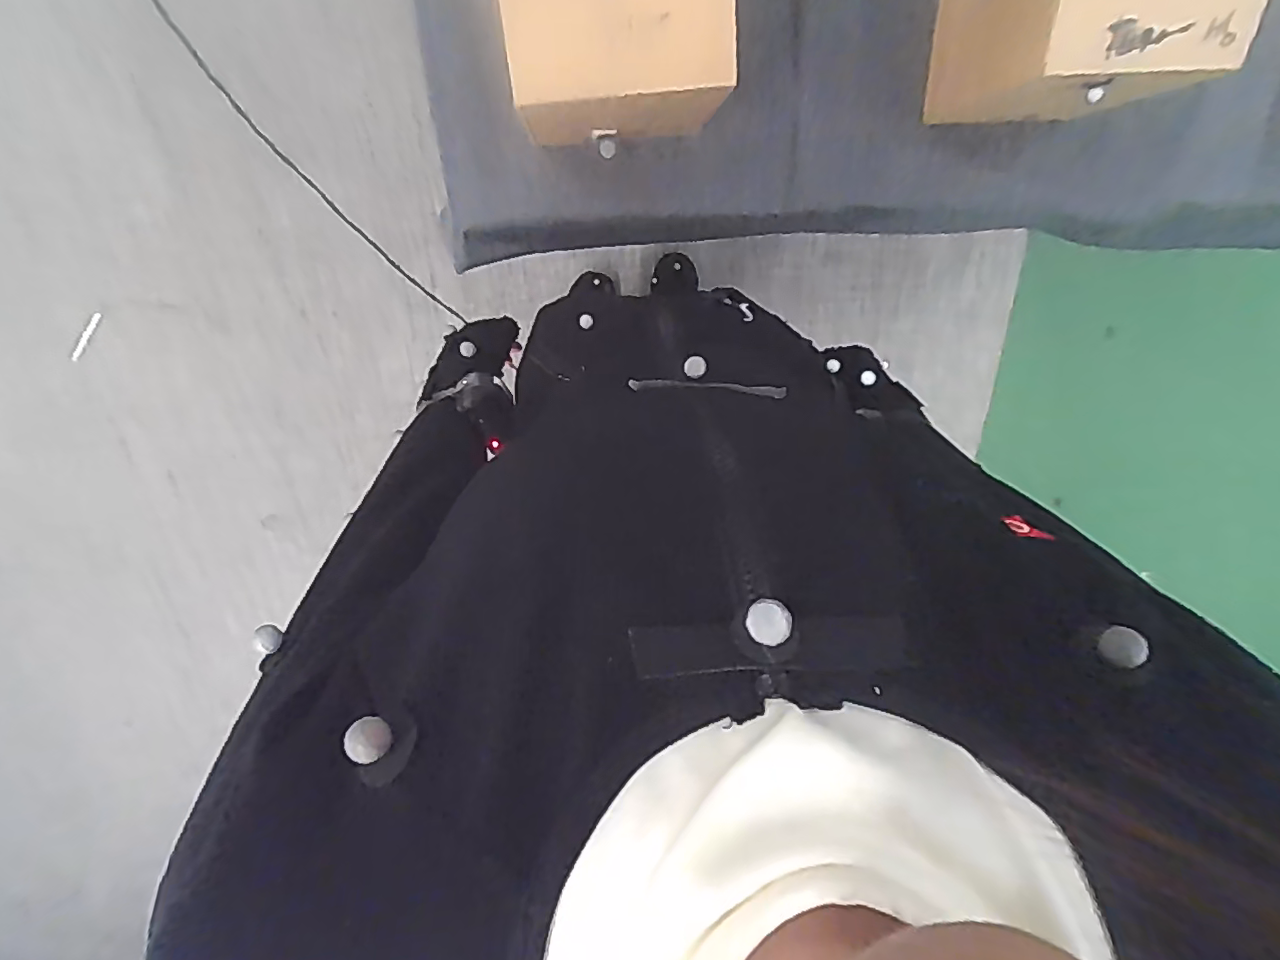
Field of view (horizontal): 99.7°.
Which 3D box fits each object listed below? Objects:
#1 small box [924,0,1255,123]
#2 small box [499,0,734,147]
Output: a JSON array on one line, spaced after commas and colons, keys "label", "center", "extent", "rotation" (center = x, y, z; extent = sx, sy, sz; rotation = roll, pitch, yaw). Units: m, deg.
[{"label": "small box", "center": [0.372, -0.428, 0.460], "extent": [0.168, 0.176, 0.179], "rotation": [-4, 112, -3]}, {"label": "small box", "center": [-0.026, -0.394, 0.438], "extent": [0.168, 0.176, 0.179], "rotation": [-7, 113, -1]}]
